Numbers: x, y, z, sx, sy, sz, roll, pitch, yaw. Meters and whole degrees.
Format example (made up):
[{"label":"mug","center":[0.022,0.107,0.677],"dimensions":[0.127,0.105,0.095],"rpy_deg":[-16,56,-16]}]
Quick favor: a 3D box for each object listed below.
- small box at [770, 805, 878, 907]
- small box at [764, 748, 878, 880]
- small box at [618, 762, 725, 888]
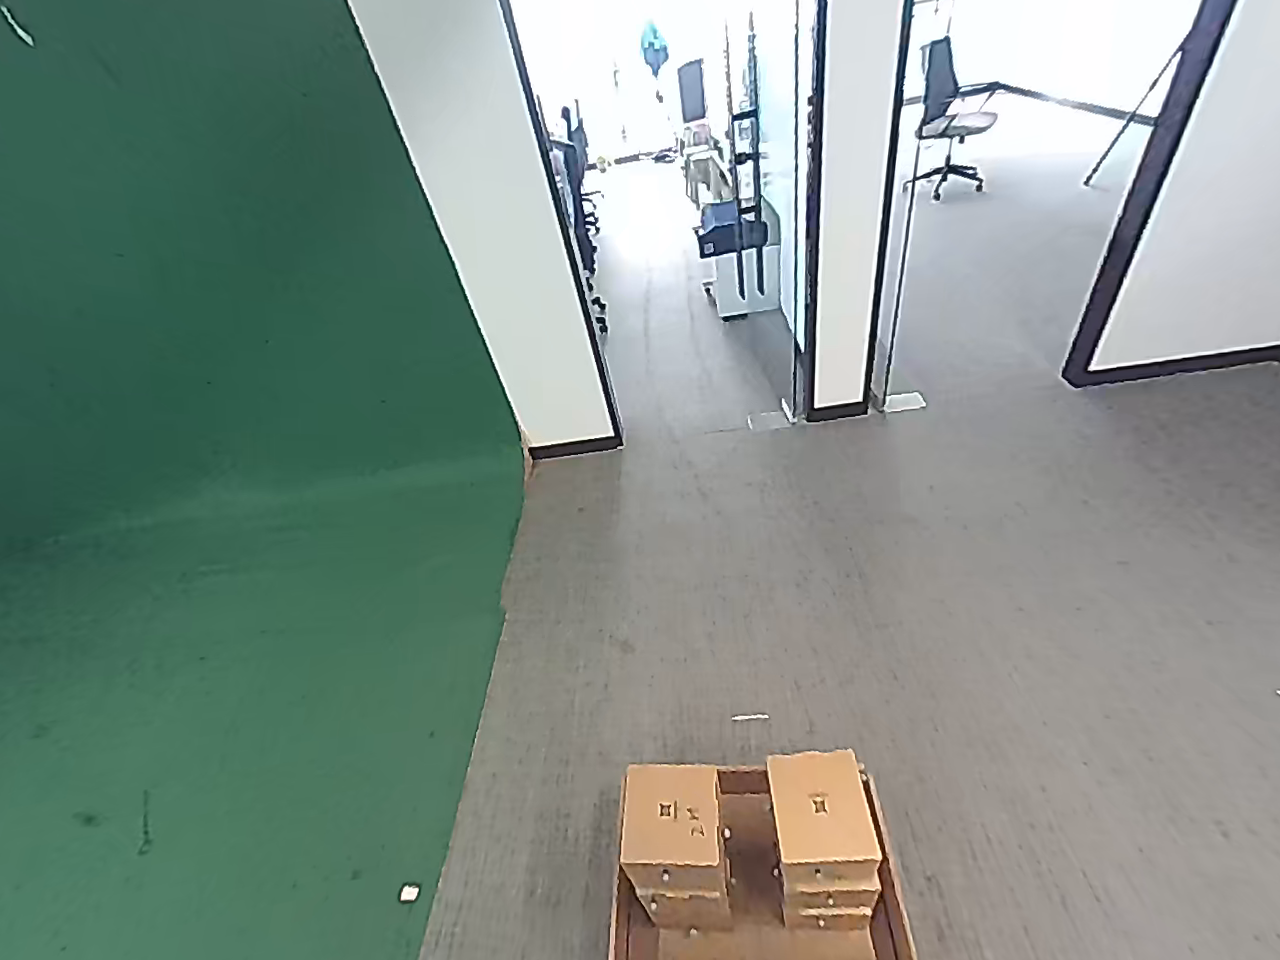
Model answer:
[{"label":"small box","center":[0.369,0.757,1.107],"dimensions":[0.179,0.176,0.168],"rpy_deg":[-7,42,8]},{"label":"small box","center":[0.333,0.630,1.013],"dimensions":[0.168,0.176,0.179],"rpy_deg":[-9,41,8]},{"label":"small box","center":[0.066,0.663,1.038],"dimensions":[0.179,0.176,0.168],"rpy_deg":[-5,41,9]}]
